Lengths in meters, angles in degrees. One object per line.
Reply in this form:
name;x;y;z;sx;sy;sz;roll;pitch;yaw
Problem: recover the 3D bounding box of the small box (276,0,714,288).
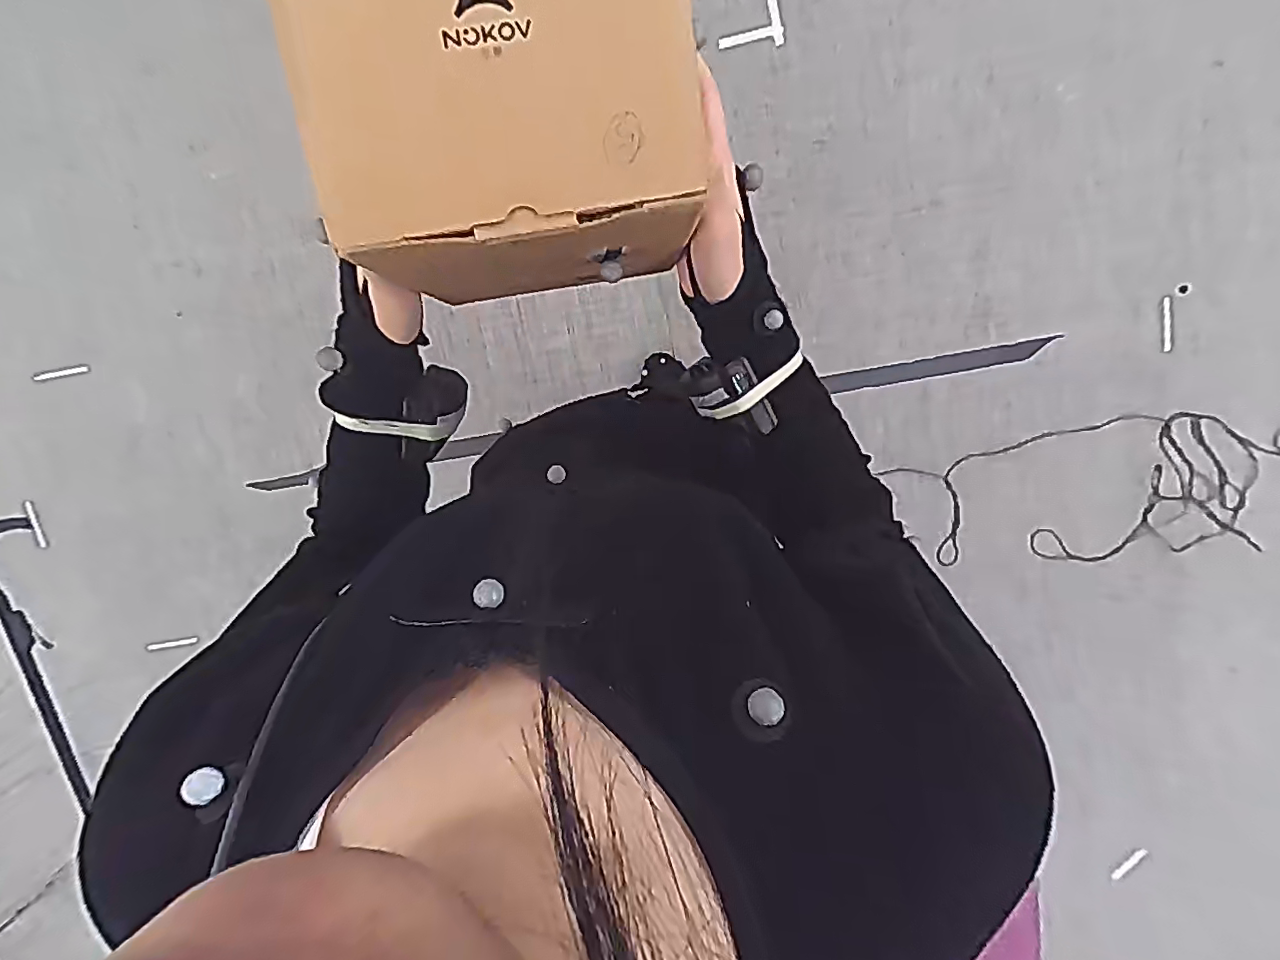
small box;-0.064;-0.210;0.291;0.168;0.176;0.179;-10;101;-2
